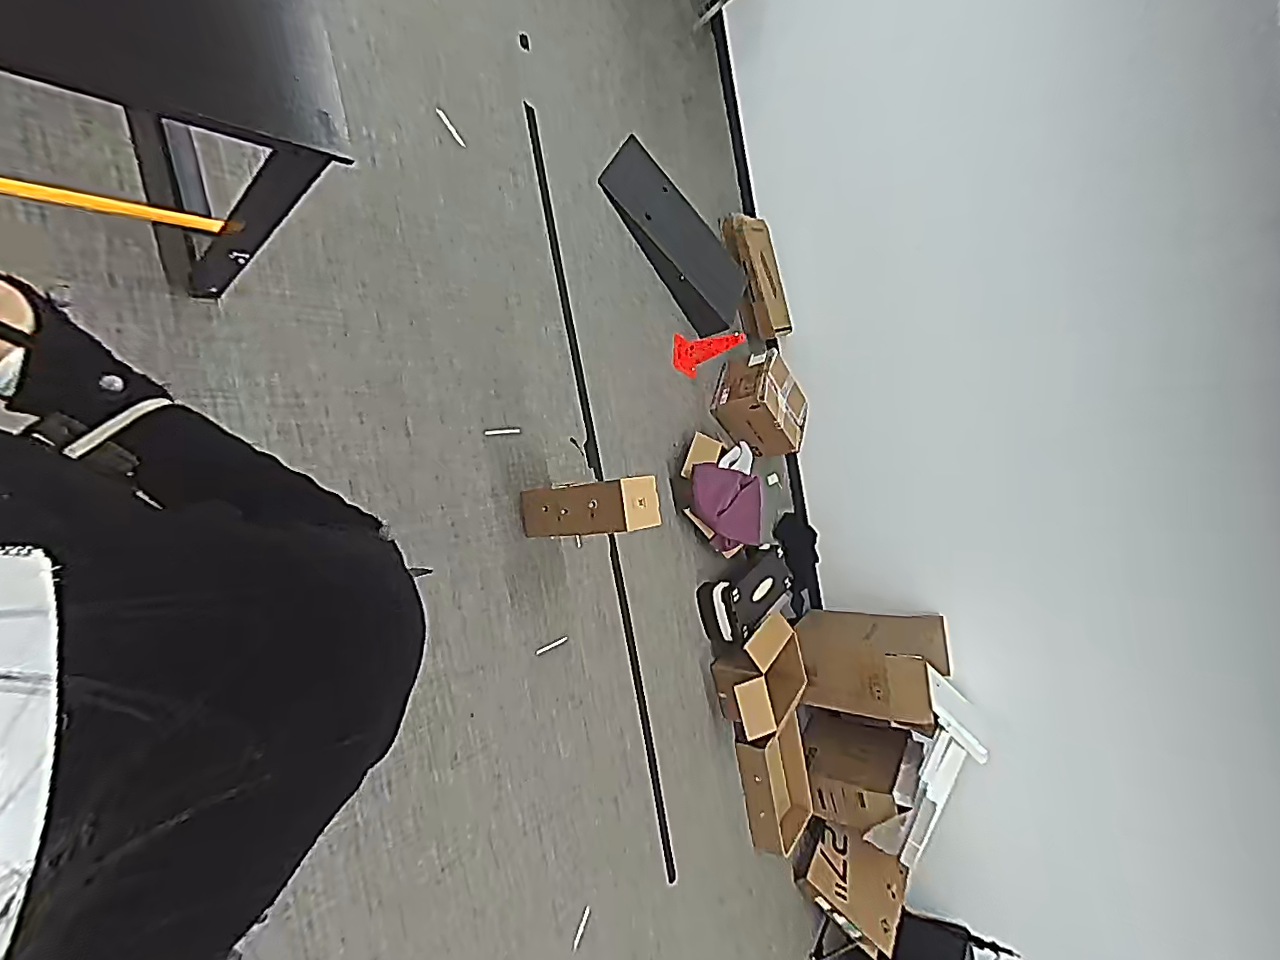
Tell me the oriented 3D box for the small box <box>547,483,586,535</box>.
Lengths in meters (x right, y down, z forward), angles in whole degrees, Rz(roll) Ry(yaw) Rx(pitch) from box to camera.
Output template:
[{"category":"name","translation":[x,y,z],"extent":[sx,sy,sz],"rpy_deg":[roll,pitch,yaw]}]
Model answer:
[{"category":"small box","translation":[-0.197,0.095,1.864],"extent":[0.179,0.176,0.168],"rpy_deg":[-7,89,-51]}]

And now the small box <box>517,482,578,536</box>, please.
[{"category":"small box","translation":[-0.329,0.106,1.962],"extent":[0.168,0.176,0.179],"rpy_deg":[-6,90,-51]}]

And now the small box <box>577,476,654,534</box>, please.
[{"category":"small box","translation":[-0.079,0.081,1.752],"extent":[0.179,0.176,0.168],"rpy_deg":[-7,89,-51]}]
